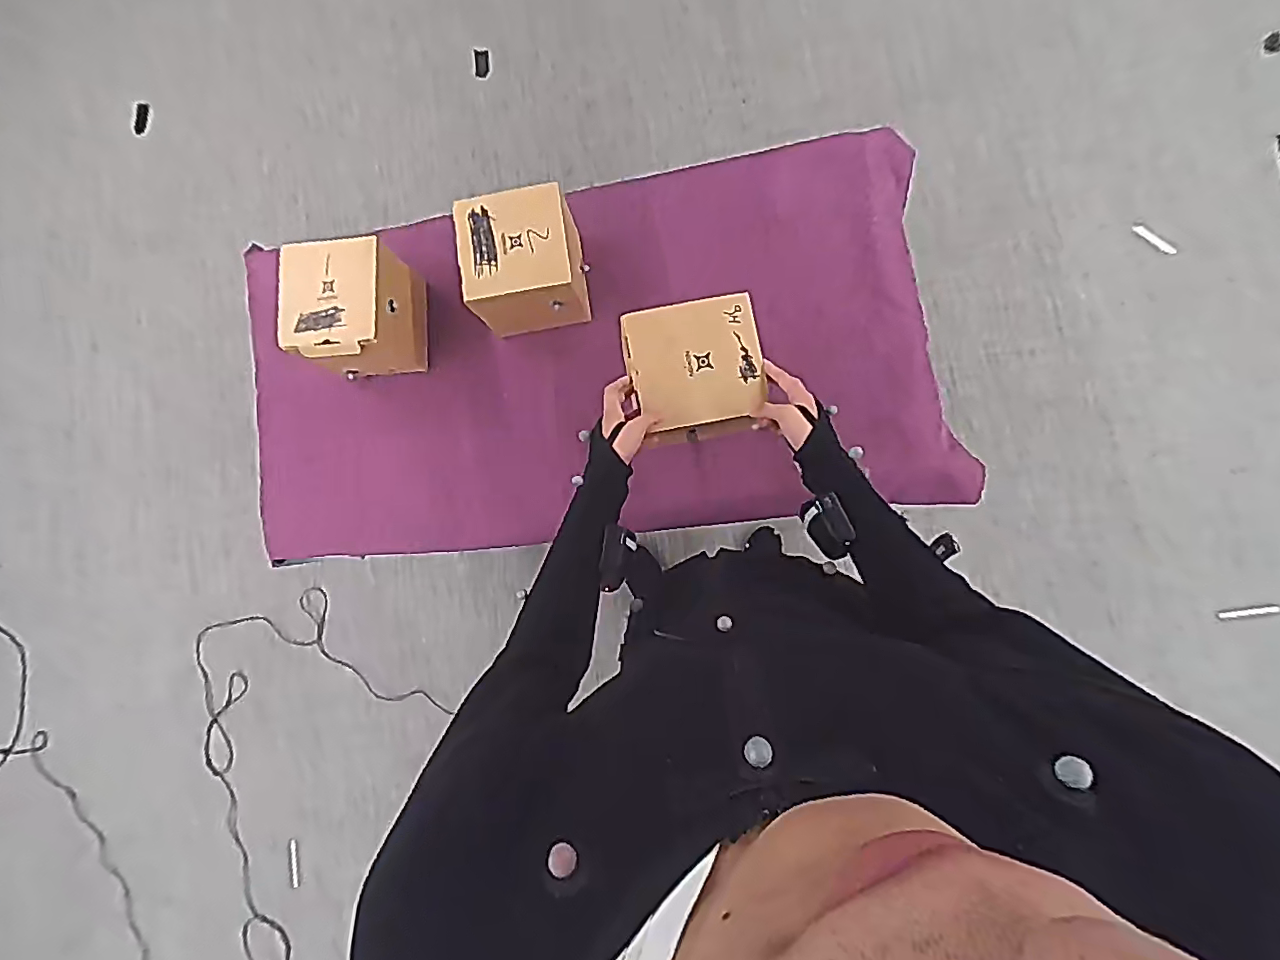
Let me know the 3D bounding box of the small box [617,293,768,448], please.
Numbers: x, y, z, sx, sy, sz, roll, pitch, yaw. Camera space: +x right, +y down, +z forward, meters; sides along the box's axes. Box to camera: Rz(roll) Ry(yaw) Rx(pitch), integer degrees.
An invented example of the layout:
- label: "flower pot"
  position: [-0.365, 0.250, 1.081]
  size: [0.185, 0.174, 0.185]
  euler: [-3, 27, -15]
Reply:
- label: "small box"
  position: [0.070, -0.146, 0.781]
  size: [0.179, 0.176, 0.168]
  euler: [-10, 88, 0]

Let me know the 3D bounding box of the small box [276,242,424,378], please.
- label: "small box"
  position: [-0.489, -0.280, 0.933]
  size: [0.168, 0.176, 0.179]
  euler: [-4, 85, 5]
